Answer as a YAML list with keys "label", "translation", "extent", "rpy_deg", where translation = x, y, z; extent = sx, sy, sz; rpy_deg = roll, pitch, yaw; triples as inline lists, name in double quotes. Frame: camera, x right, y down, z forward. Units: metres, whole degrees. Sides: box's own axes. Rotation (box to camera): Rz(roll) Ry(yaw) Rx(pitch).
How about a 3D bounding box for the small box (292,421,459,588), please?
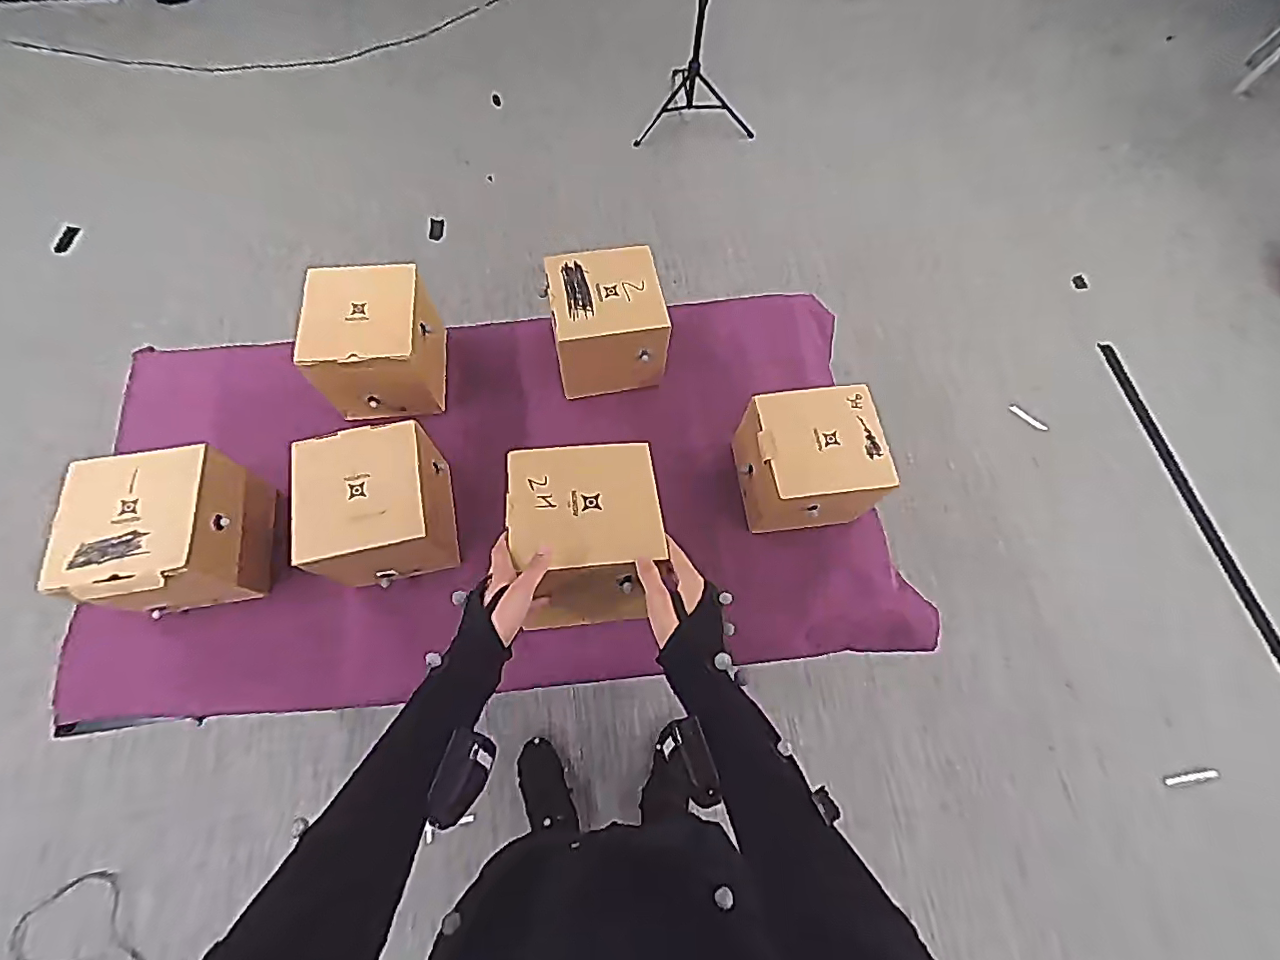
- label: "small box"
  translation: [-0.372, 0.041, 0.782]
  extent: [0.168, 0.176, 0.179]
  rpy_deg: [-12, 69, -6]

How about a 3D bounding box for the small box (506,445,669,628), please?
- label: "small box"
  translation: [-0.069, 0.074, 0.683]
  extent: [0.179, 0.176, 0.168]
  rpy_deg: [-5, 55, -7]

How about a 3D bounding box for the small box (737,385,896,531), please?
- label: "small box"
  translation: [0.255, -0.027, 0.836]
  extent: [0.179, 0.176, 0.168]
  rpy_deg: [-6, 69, -4]

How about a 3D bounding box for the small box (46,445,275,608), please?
- label: "small box"
  translation: [-0.643, 0.074, 0.754]
  extent: [0.168, 0.176, 0.179]
  rpy_deg: [-9, 67, -6]

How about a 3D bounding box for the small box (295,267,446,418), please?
- label: "small box"
  translation: [-0.423, -0.219, 0.881]
  extent: [0.168, 0.176, 0.179]
  rpy_deg: [-5, 69, -5]
